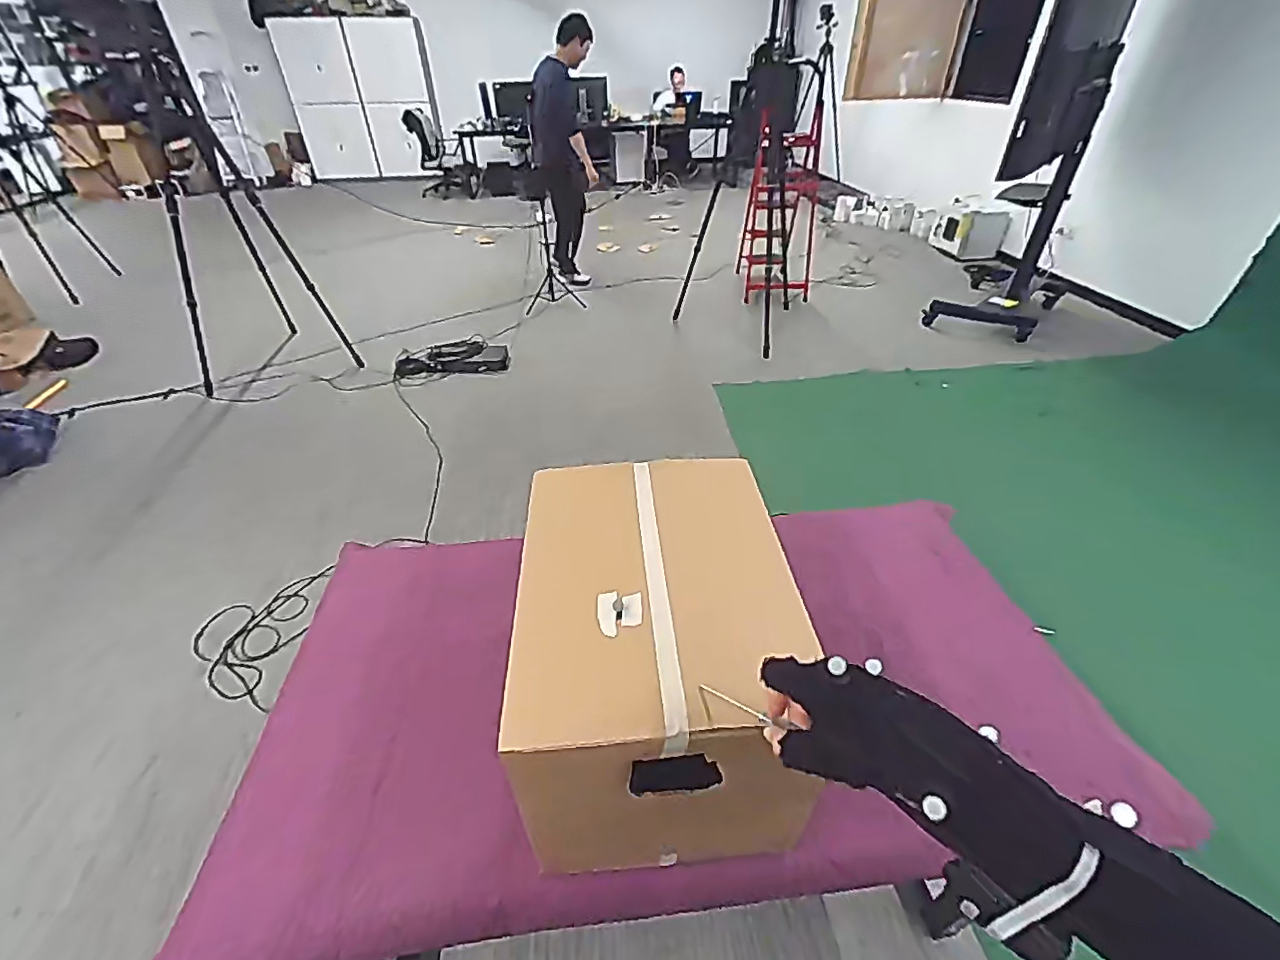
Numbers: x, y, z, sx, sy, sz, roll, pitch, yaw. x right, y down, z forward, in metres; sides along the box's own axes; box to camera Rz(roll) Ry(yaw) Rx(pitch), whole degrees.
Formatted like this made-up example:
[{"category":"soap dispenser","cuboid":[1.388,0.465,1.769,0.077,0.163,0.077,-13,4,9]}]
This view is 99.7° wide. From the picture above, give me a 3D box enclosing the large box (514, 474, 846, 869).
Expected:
[{"category":"large box","cuboid":[0.022,0.234,0.733,0.320,0.320,0.408,-3,38,-3]}]
